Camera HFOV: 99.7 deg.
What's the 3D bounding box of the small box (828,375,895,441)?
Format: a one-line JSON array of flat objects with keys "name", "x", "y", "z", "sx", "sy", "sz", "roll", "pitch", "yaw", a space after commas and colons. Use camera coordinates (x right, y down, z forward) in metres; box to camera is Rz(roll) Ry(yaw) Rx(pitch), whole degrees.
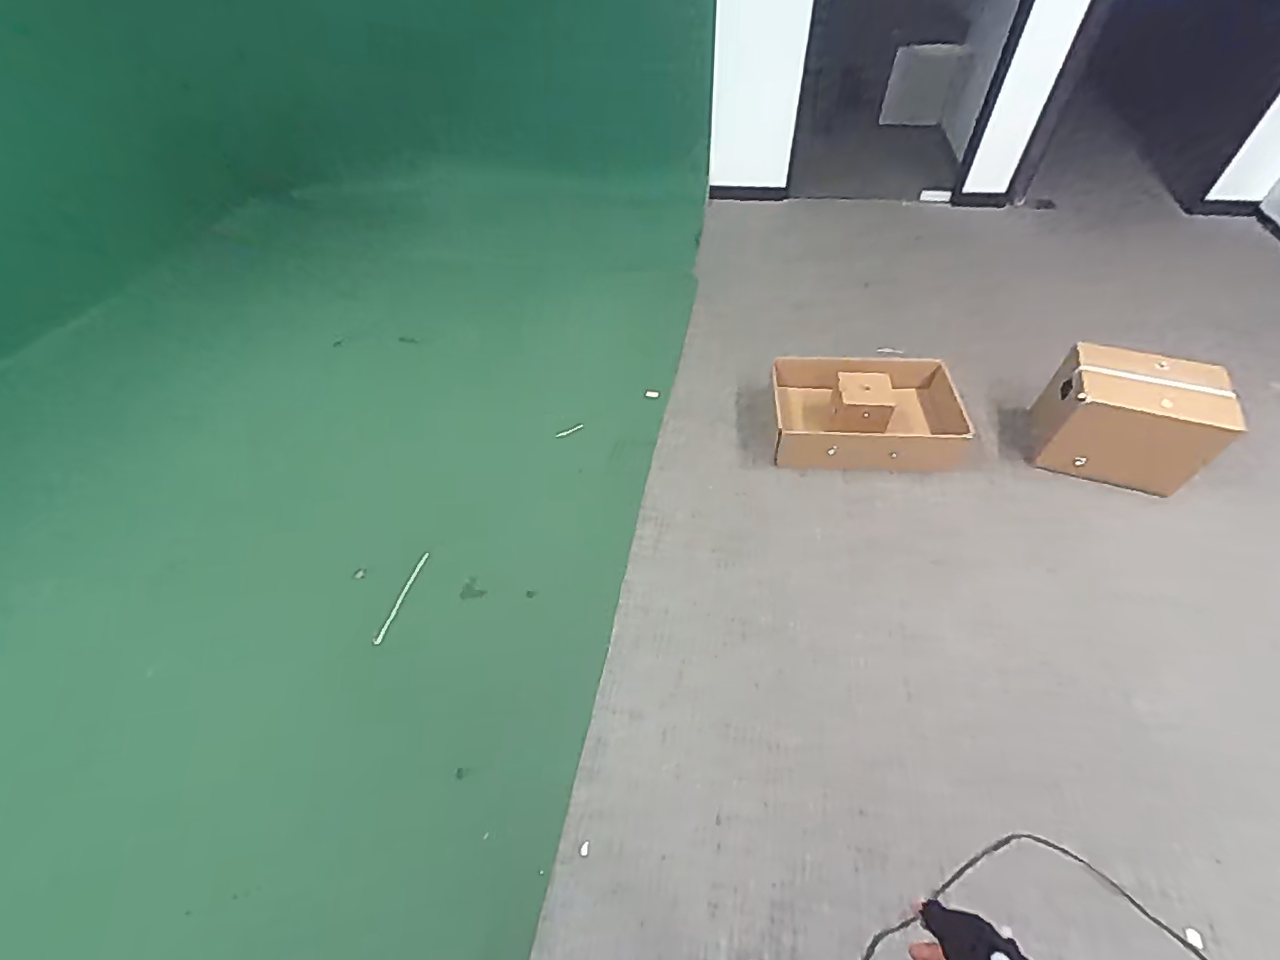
[{"name": "small box", "x": 0.776, "y": -0.254, "z": 1.918, "sx": 0.179, "sy": 0.176, "sz": 0.168, "roll": 4, "pitch": 51, "yaw": 5}]
